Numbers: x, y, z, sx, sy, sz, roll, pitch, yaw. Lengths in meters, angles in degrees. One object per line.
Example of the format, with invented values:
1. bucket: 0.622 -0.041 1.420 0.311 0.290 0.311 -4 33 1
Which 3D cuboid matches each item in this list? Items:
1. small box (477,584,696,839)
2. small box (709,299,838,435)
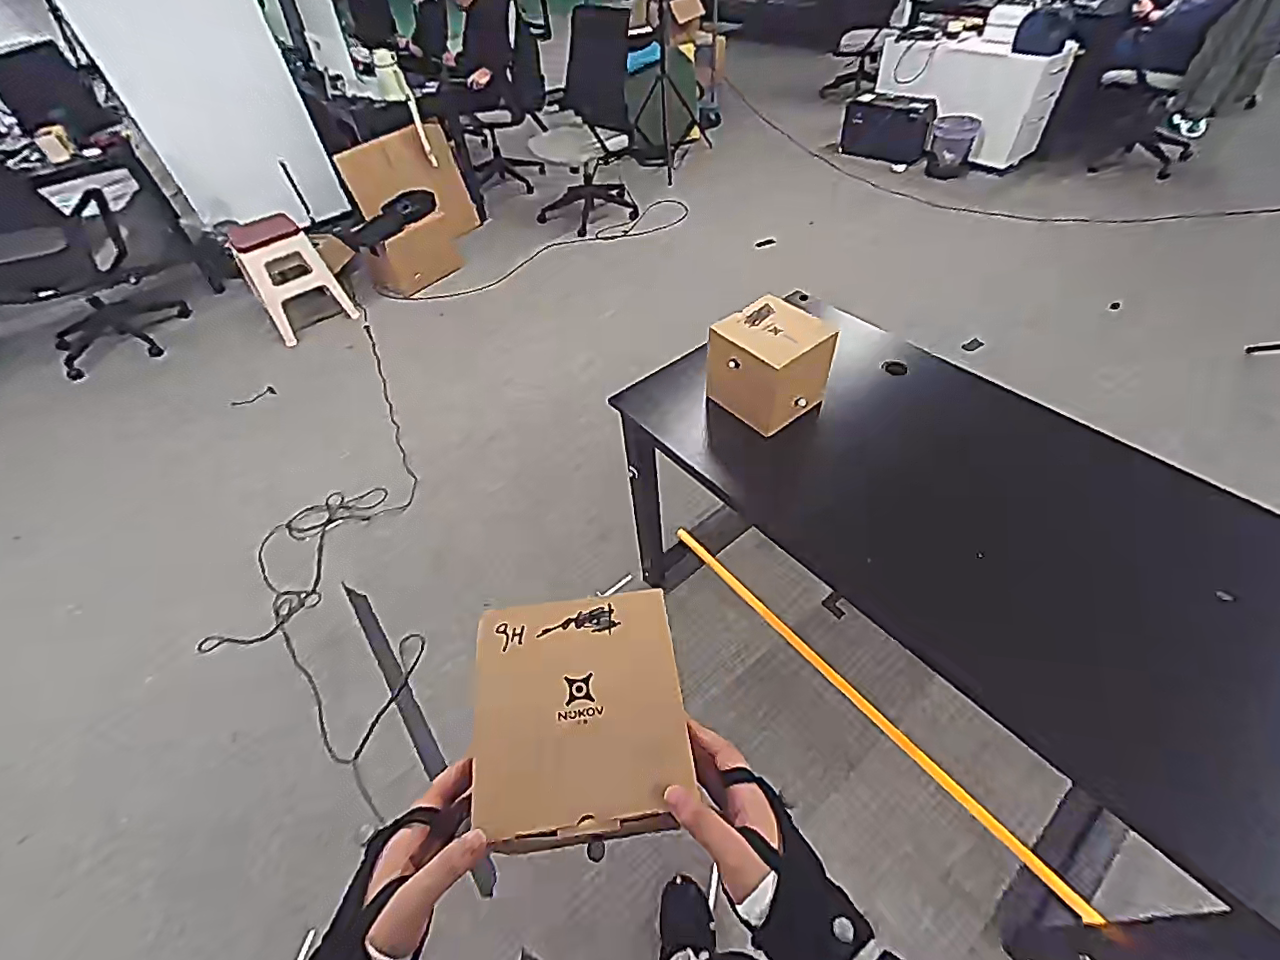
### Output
1. small box: -0.047 0.218 0.504 0.168 0.176 0.179 -7 56 -5
2. small box: 0.249 -0.219 1.057 0.168 0.176 0.179 -33 55 -21
